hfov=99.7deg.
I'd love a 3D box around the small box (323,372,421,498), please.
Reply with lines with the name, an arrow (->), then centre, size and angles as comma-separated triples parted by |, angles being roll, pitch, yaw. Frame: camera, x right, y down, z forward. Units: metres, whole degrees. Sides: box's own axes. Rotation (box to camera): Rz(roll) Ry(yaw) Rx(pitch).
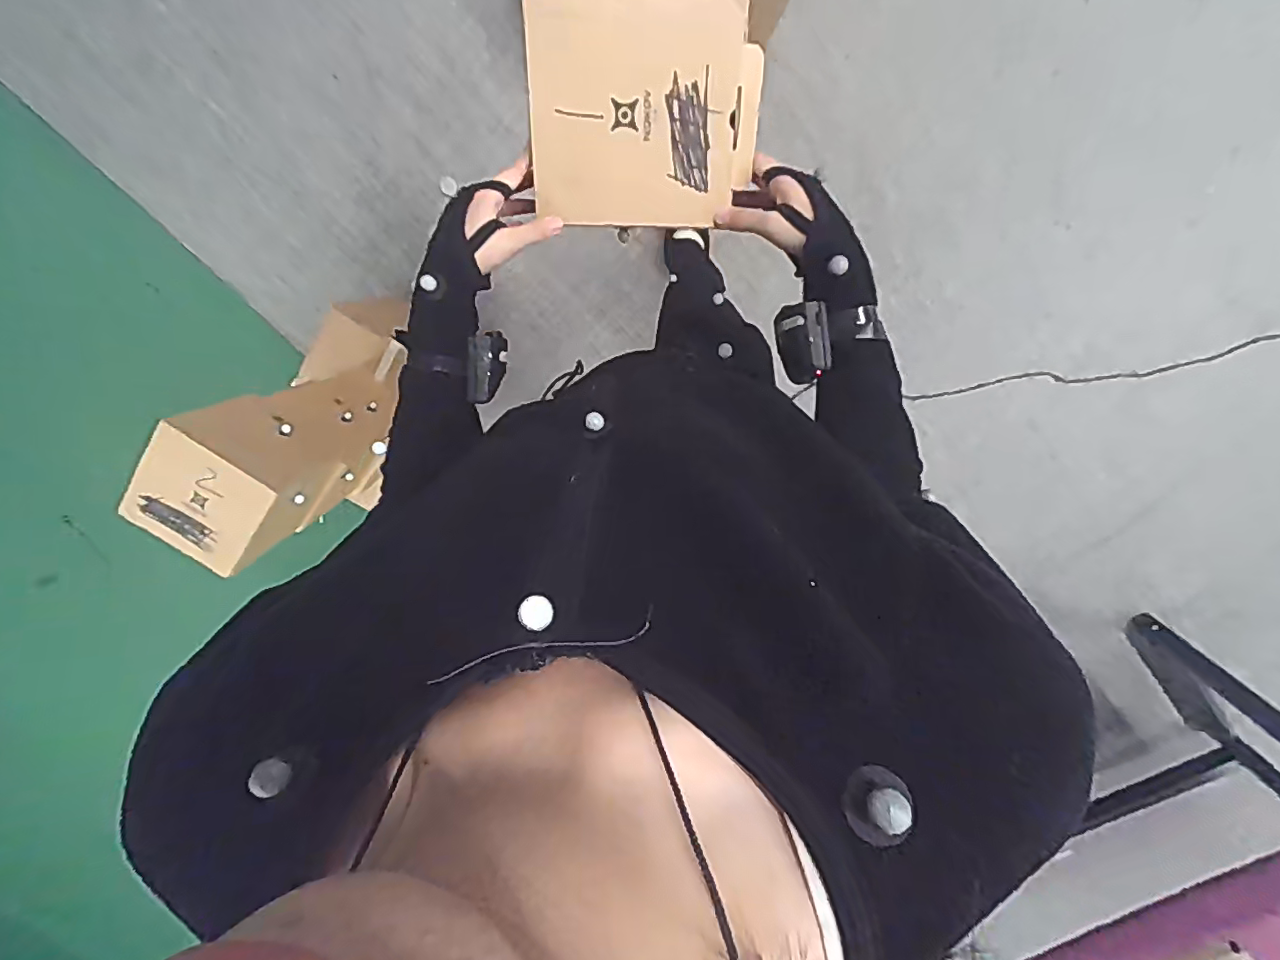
small box -> -0.586, -0.101, 1.108 | 0.179, 0.176, 0.168 | 38, 108, -12

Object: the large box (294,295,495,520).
large box -> -0.617, -0.190, 1.338 | 0.320, 0.320, 0.408 | 33, 111, -9

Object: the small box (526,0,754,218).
small box -> -0.005, -0.341, 0.510 | 0.179, 0.176, 0.168 | 0, 116, -2

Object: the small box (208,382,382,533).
small box -> -0.594, -0.046, 0.955 | 0.168, 0.176, 0.179 | 39, 108, -13
